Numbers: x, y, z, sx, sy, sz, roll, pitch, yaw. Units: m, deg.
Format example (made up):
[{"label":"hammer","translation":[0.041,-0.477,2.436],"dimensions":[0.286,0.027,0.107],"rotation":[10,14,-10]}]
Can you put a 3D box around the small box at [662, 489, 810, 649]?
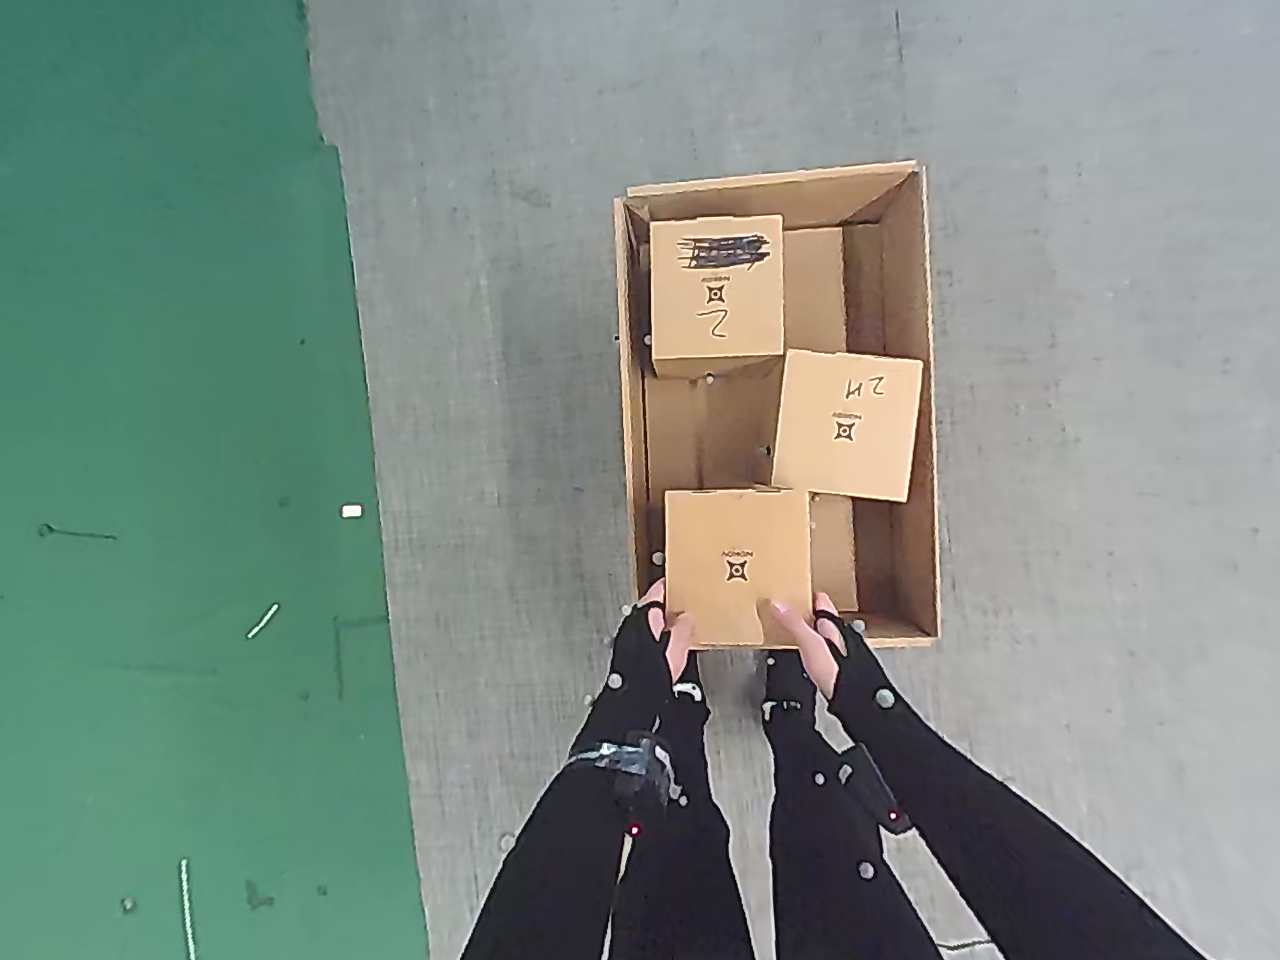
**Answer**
[{"label":"small box","translation":[0.116,0.108,0.686],"dimensions":[0.168,0.176,0.179],"rotation":[0,81,6]}]
